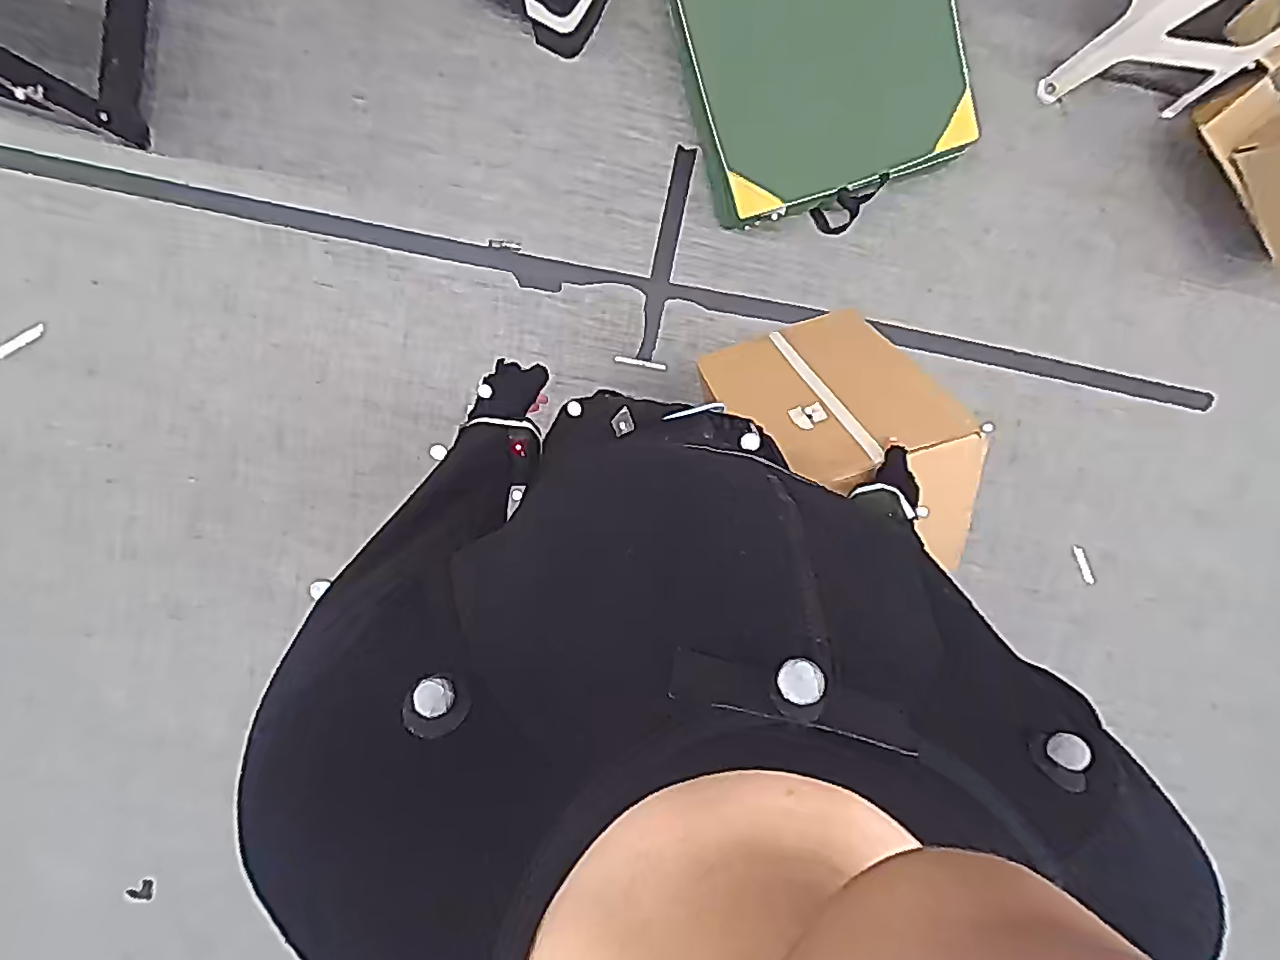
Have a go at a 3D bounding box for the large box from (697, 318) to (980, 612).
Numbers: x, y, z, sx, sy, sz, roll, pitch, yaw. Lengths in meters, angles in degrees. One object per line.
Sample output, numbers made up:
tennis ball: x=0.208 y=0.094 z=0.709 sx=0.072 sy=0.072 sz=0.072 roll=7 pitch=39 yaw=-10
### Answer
large box: x=0.324 y=-0.037 z=0.997 sx=0.320 sy=0.408 sz=0.320 roll=-18 pitch=133 yaw=2
